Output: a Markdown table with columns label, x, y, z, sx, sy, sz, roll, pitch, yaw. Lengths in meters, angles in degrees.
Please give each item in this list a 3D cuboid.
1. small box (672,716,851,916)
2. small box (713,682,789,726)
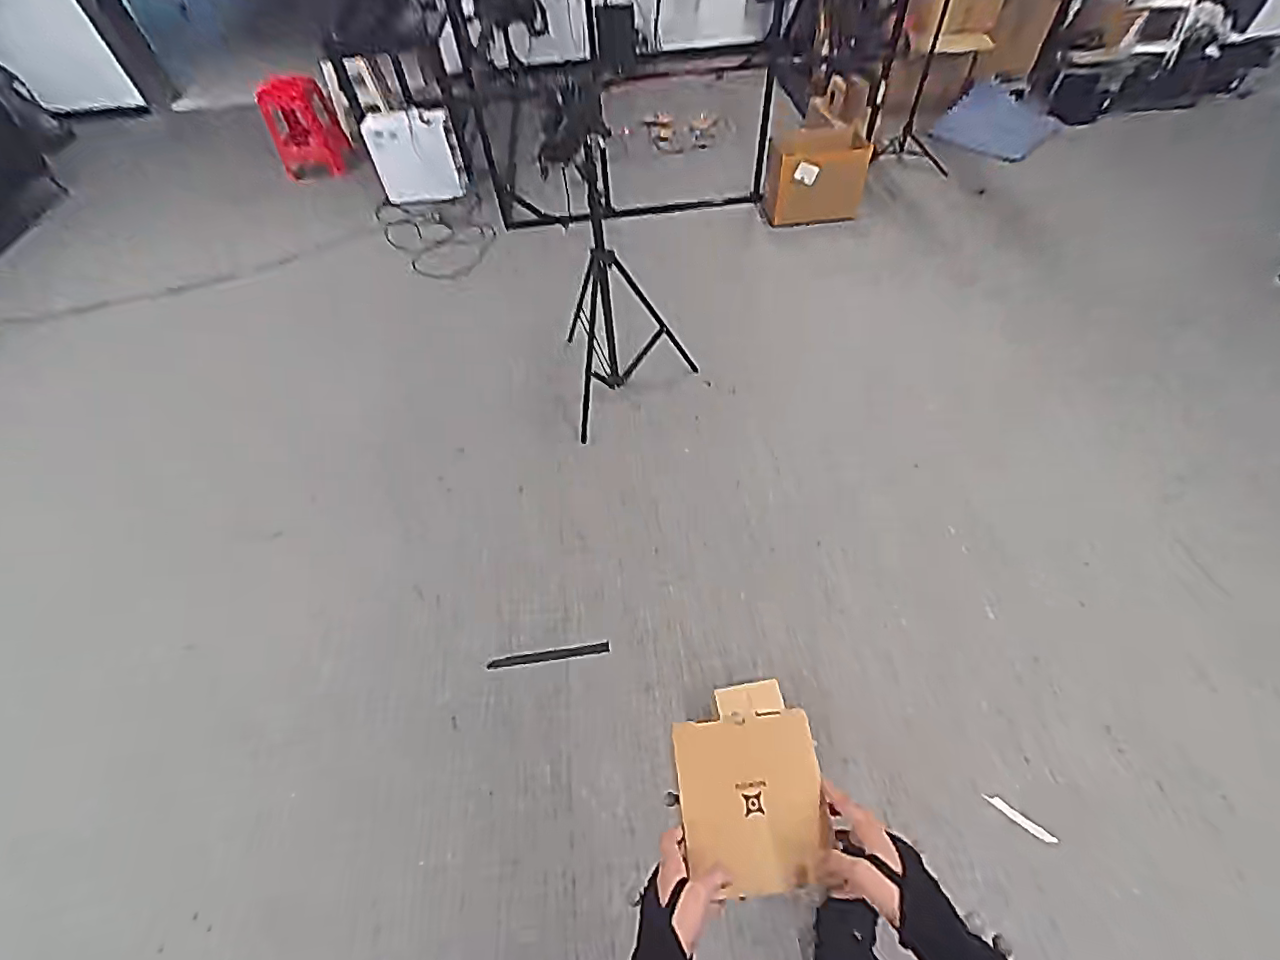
| label | x | y | z | sx | sy | sz | roll | pitch | yaw |
| --- | --- | --- | --- | --- | --- | --- | --- | --- | --- |
| small box | 0.131 | 0.398 | 0.661 | 0.168 | 0.176 | 0.179 | -6 | 60 | -2 |
| small box | 0.284 | 0.633 | 1.363 | 0.168 | 0.176 | 0.179 | -9 | 52 | -3 |
